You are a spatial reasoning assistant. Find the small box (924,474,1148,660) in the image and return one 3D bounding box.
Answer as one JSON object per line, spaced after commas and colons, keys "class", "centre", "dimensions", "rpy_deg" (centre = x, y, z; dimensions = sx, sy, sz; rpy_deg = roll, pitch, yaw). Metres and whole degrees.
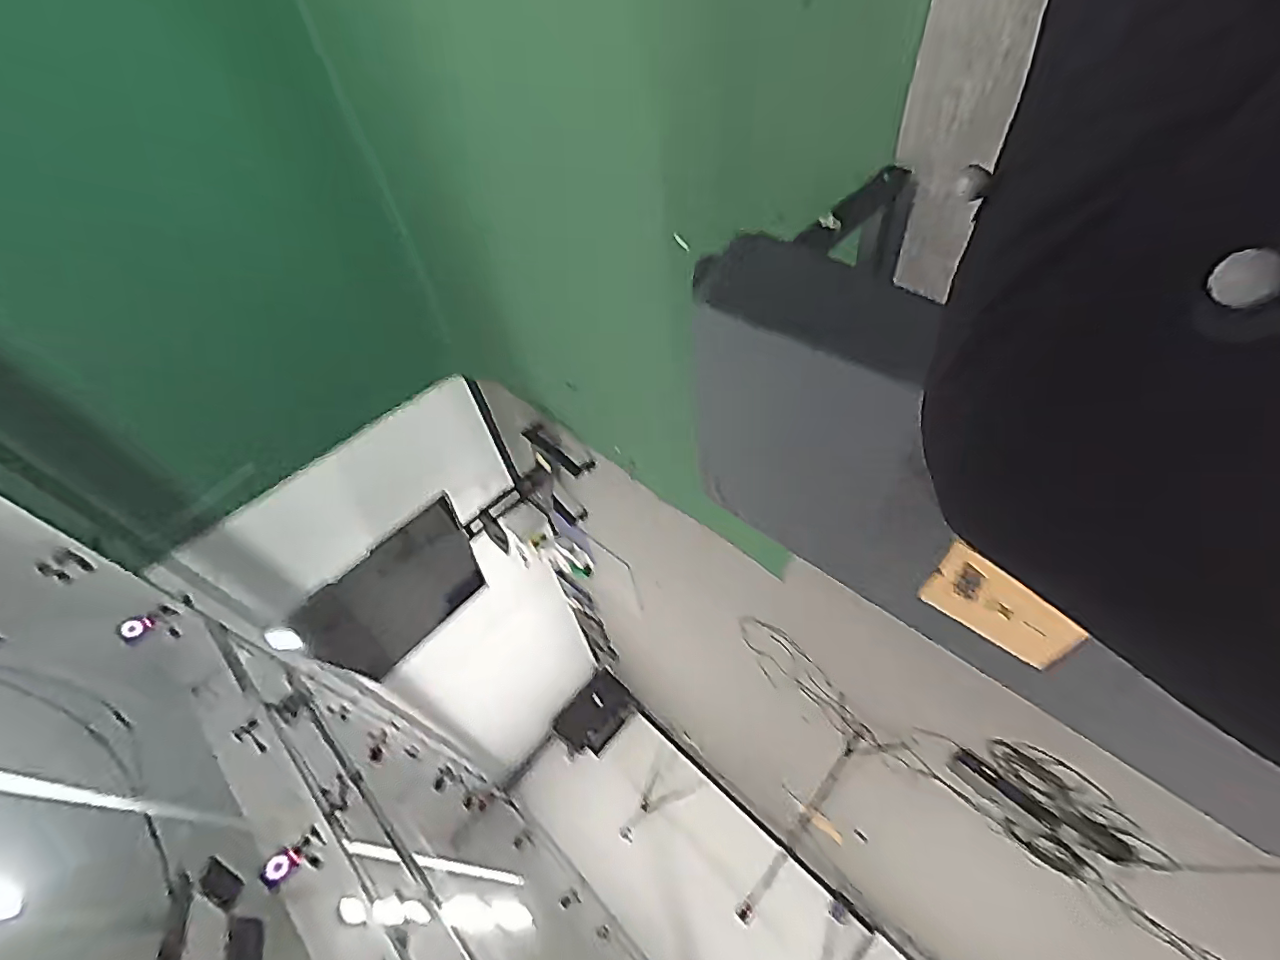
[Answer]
{"class": "small box", "centre": [0.555, 0.116, 0.774], "dimensions": [0.179, 0.176, 0.168], "rpy_deg": [36, 157, 26]}
